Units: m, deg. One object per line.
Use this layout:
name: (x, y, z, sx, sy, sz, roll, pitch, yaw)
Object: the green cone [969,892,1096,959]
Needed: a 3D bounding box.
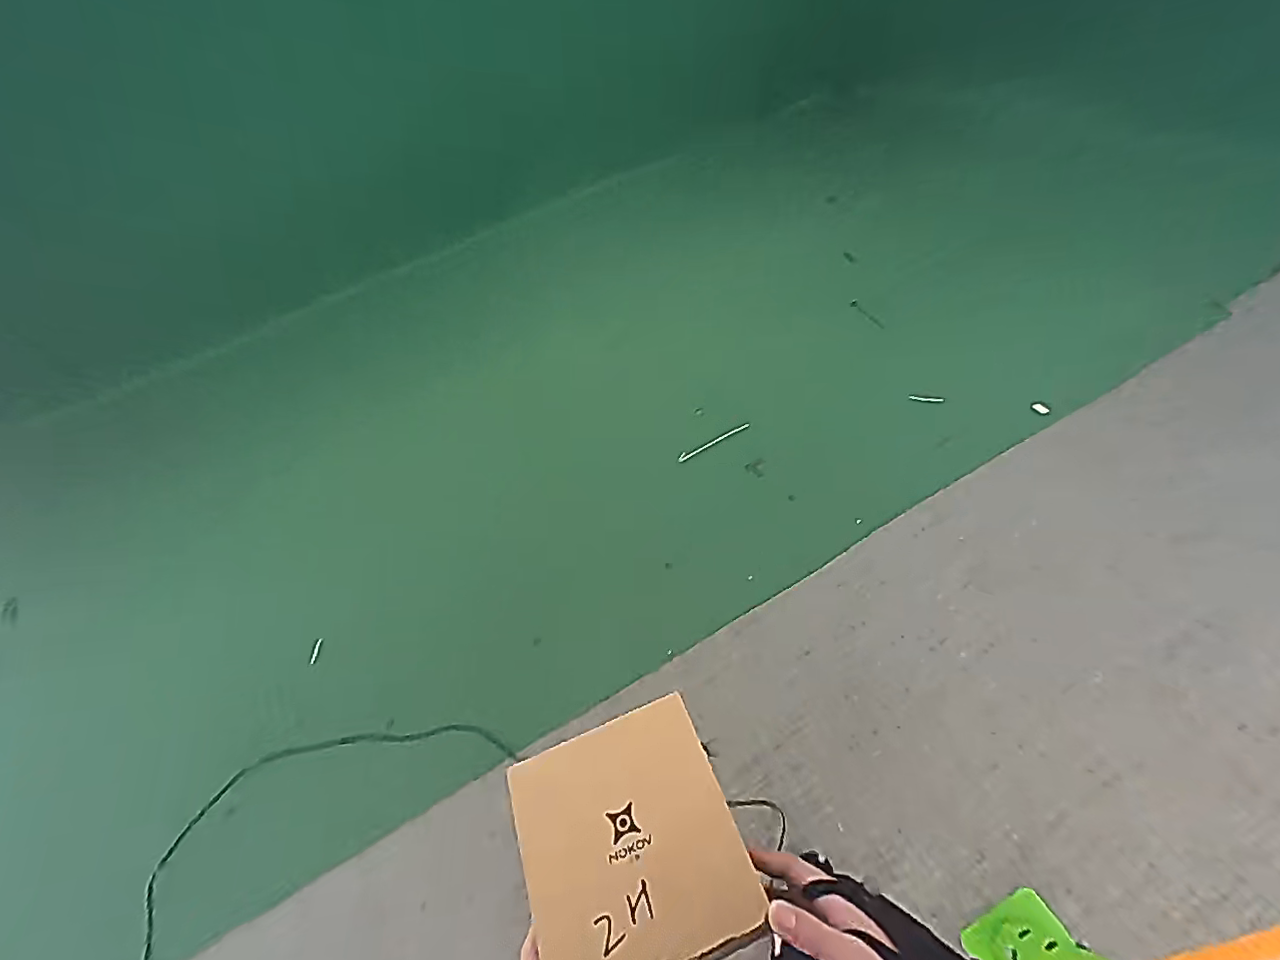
green cone: (0.765, 0.868, 0.942, 0.202, 0.368, 0.200, -28, 51, -9)
